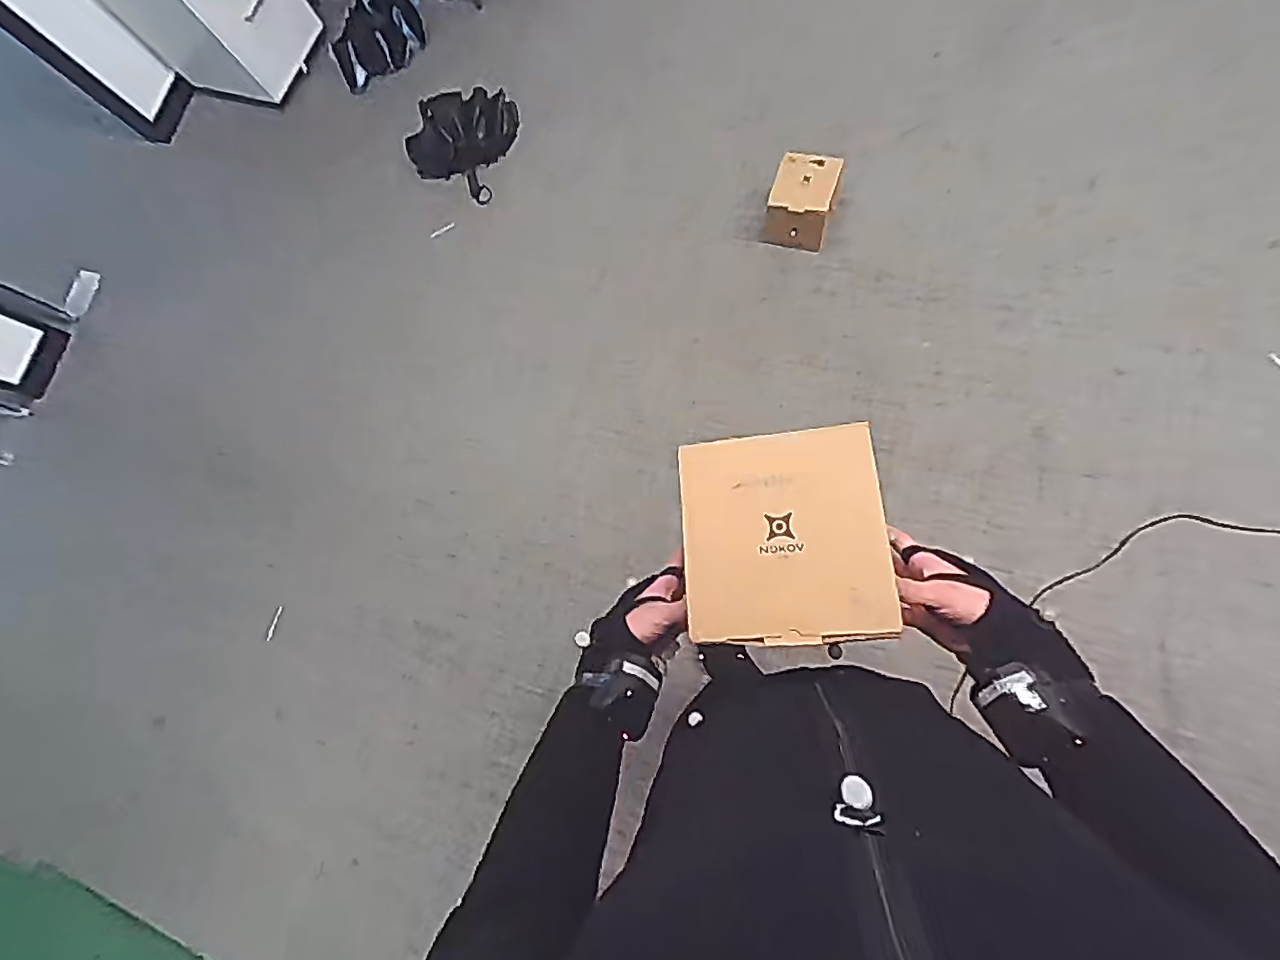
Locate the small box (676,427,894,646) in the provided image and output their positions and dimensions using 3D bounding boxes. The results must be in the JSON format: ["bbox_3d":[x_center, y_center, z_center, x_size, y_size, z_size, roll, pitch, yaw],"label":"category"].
[{"bbox_3d":[0.135,0.068,0.530,0.168,0.176,0.179,-7,71,12],"label":"small box"}]

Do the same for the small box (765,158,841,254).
[{"bbox_3d":[0.466,-0.785,1.562,0.168,0.176,0.179,17,81,15],"label":"small box"}]
